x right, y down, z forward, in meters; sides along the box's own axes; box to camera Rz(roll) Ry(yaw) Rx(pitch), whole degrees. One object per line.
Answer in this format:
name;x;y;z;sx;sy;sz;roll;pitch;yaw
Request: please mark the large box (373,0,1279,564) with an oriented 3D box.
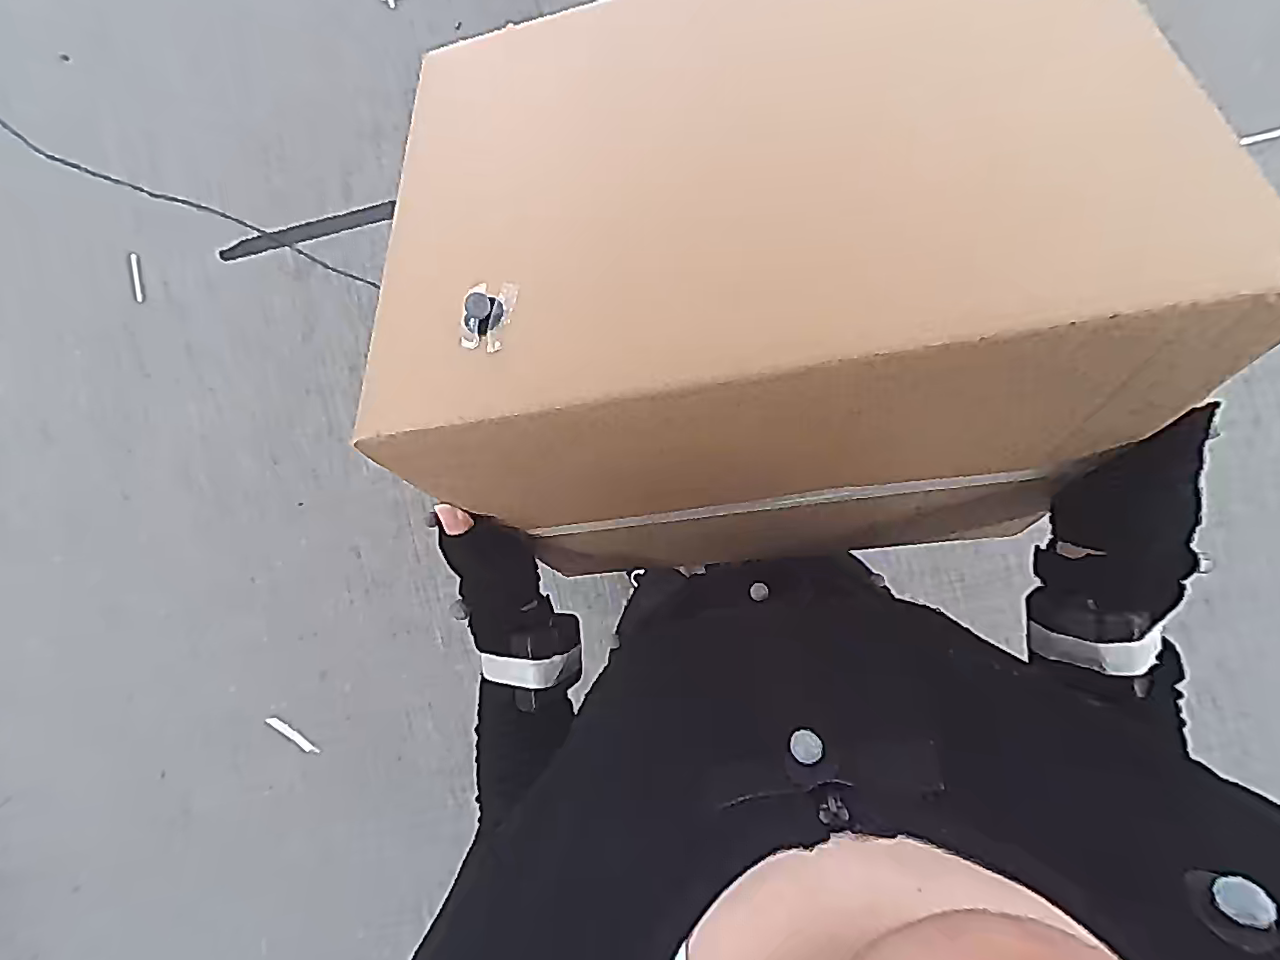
large box;0.079;-0.134;0.433;0.408;0.320;0.320;-7;67;11
